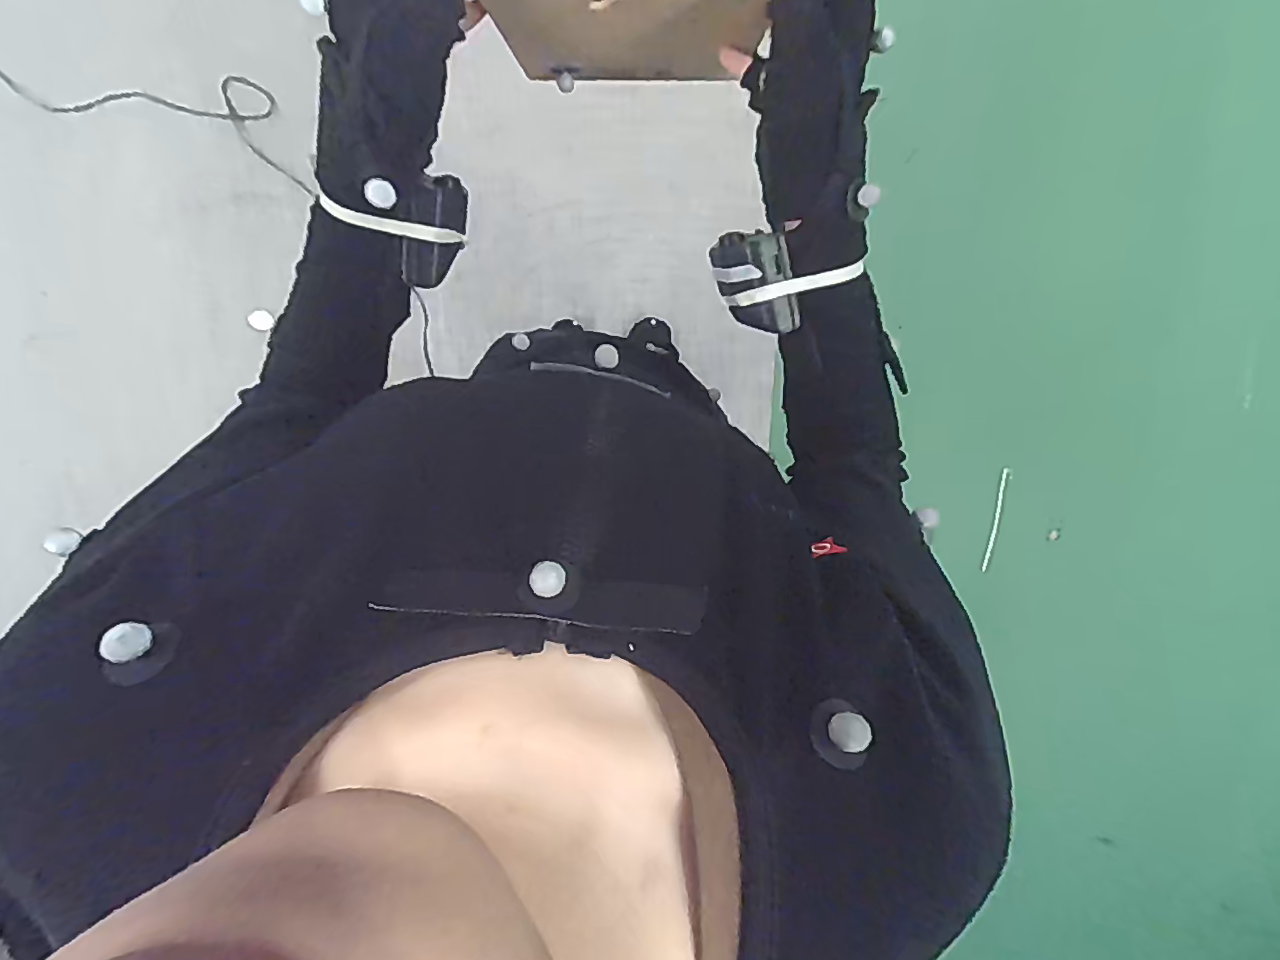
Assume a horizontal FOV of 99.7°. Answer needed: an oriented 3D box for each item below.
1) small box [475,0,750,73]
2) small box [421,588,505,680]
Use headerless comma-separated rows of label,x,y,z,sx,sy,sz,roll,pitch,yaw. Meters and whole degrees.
small box,-0.013,-0.358,0.306,0.168,0.176,0.179,0,111,0
small box,-0.469,0.411,1.459,0.168,0.176,0.179,1,106,1
